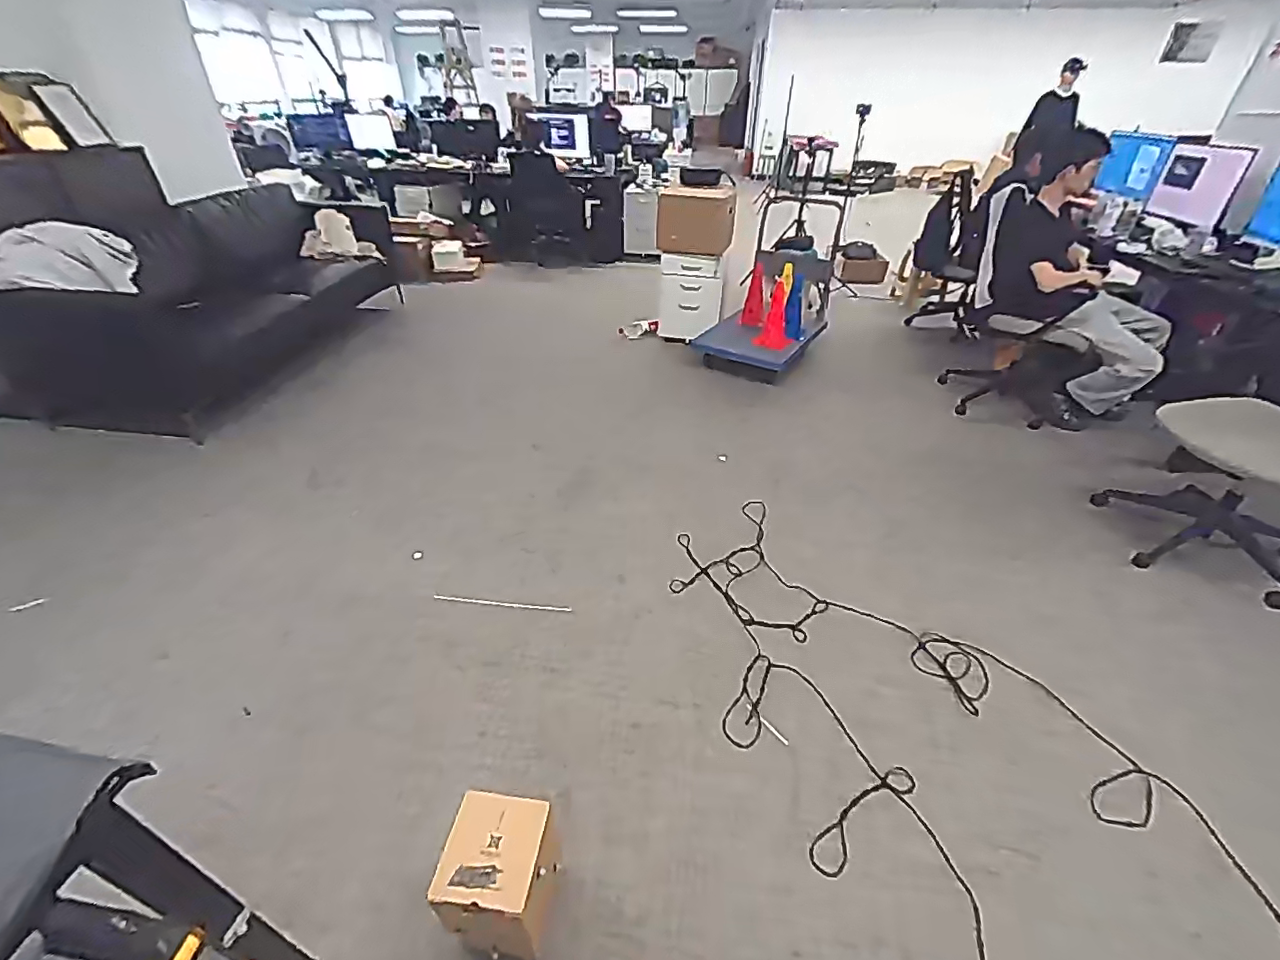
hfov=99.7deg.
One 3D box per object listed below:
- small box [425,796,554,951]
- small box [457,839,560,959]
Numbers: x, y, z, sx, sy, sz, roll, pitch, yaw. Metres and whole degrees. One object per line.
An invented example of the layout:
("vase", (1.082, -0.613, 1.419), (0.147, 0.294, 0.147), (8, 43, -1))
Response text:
("small box", (-0.259, 0.712, 0.979), (0.168, 0.176, 0.179), (5, 35, 6))
("small box", (-0.262, 0.838, 1.084), (0.168, 0.176, 0.179), (5, 35, 8))
